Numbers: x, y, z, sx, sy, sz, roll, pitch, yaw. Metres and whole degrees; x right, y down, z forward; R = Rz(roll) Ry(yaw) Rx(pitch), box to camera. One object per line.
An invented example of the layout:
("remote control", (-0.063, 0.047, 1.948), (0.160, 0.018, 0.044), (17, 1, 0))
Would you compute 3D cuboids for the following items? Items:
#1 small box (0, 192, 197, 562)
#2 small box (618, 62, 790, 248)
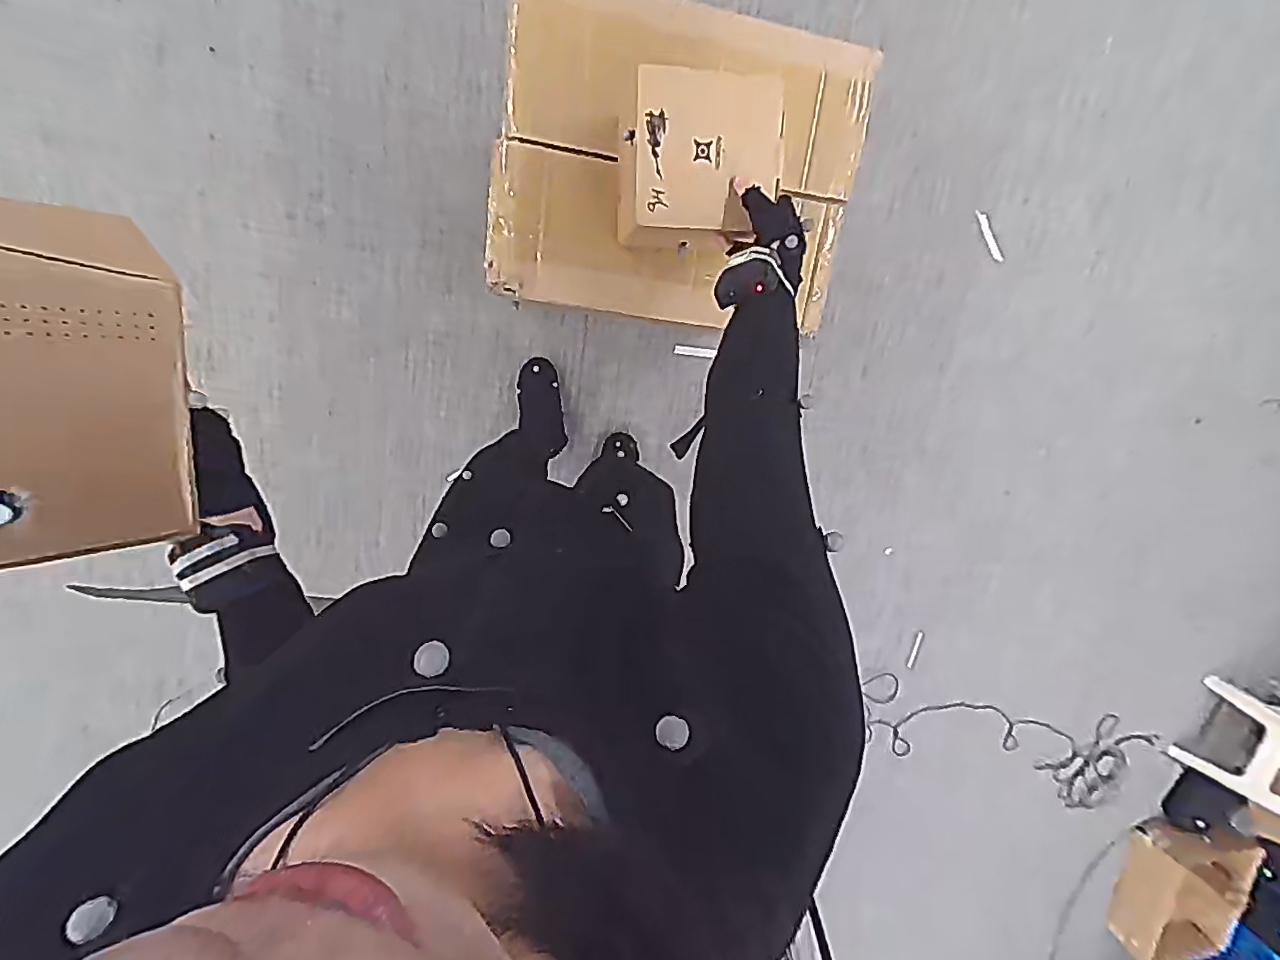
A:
("small box", (-0.379, -0.067, 0.301), (0.179, 0.168, 0.176), (-10, 125, -46))
("small box", (0.070, -0.401, 0.699), (0.179, 0.176, 0.168), (-1, 106, -9))
